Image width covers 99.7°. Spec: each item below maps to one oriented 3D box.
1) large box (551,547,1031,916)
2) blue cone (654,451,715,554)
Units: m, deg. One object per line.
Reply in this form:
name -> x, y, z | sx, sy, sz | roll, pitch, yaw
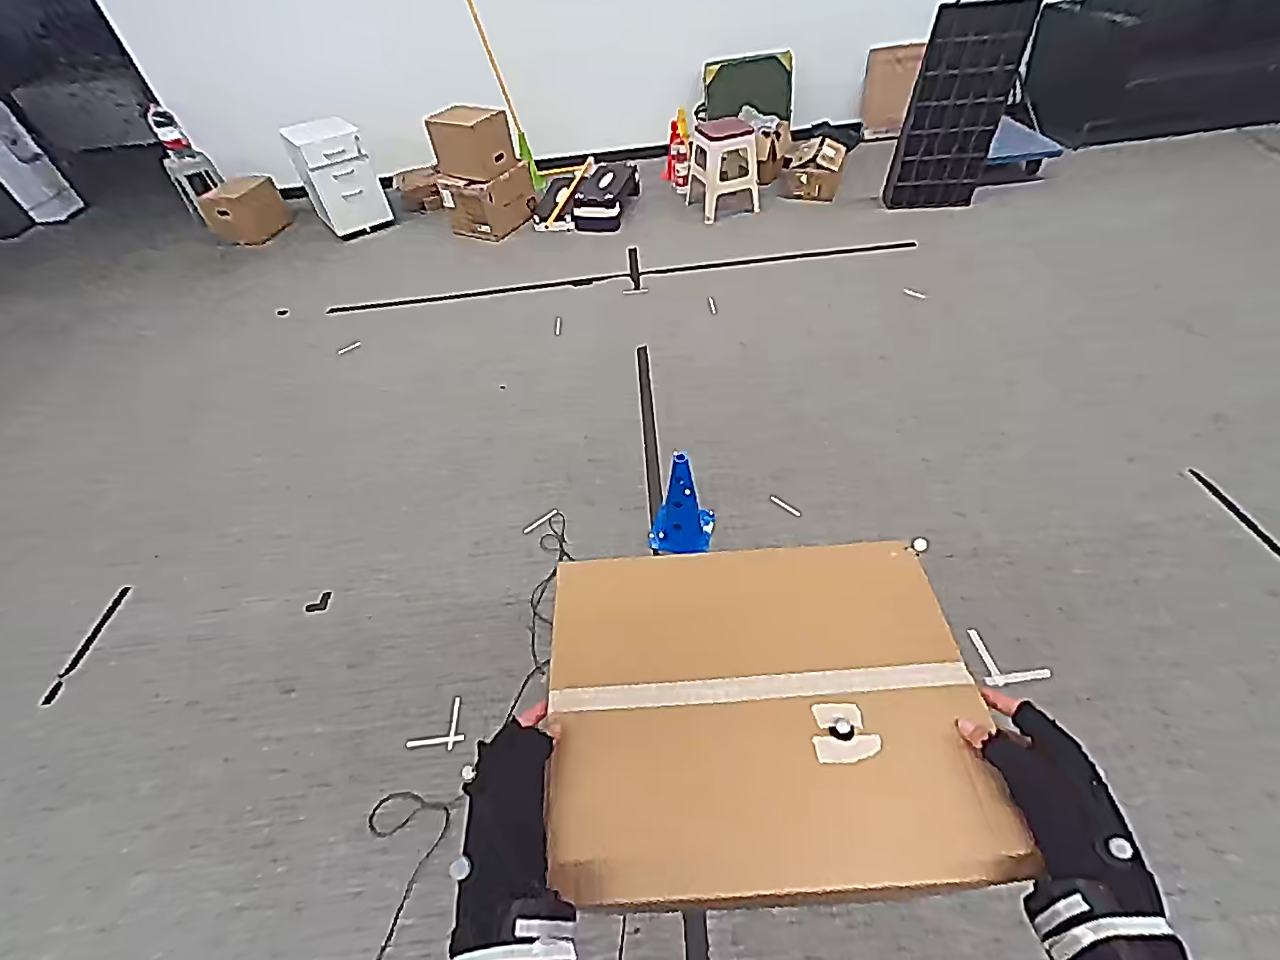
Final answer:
large box -> 0.122, 0.305, 0.647 | 0.408, 0.320, 0.320 | -4, 50, 1
blue cone -> 0.140, 0.058, 1.743 | 0.193, 0.380, 0.192 | 11, 50, 16
